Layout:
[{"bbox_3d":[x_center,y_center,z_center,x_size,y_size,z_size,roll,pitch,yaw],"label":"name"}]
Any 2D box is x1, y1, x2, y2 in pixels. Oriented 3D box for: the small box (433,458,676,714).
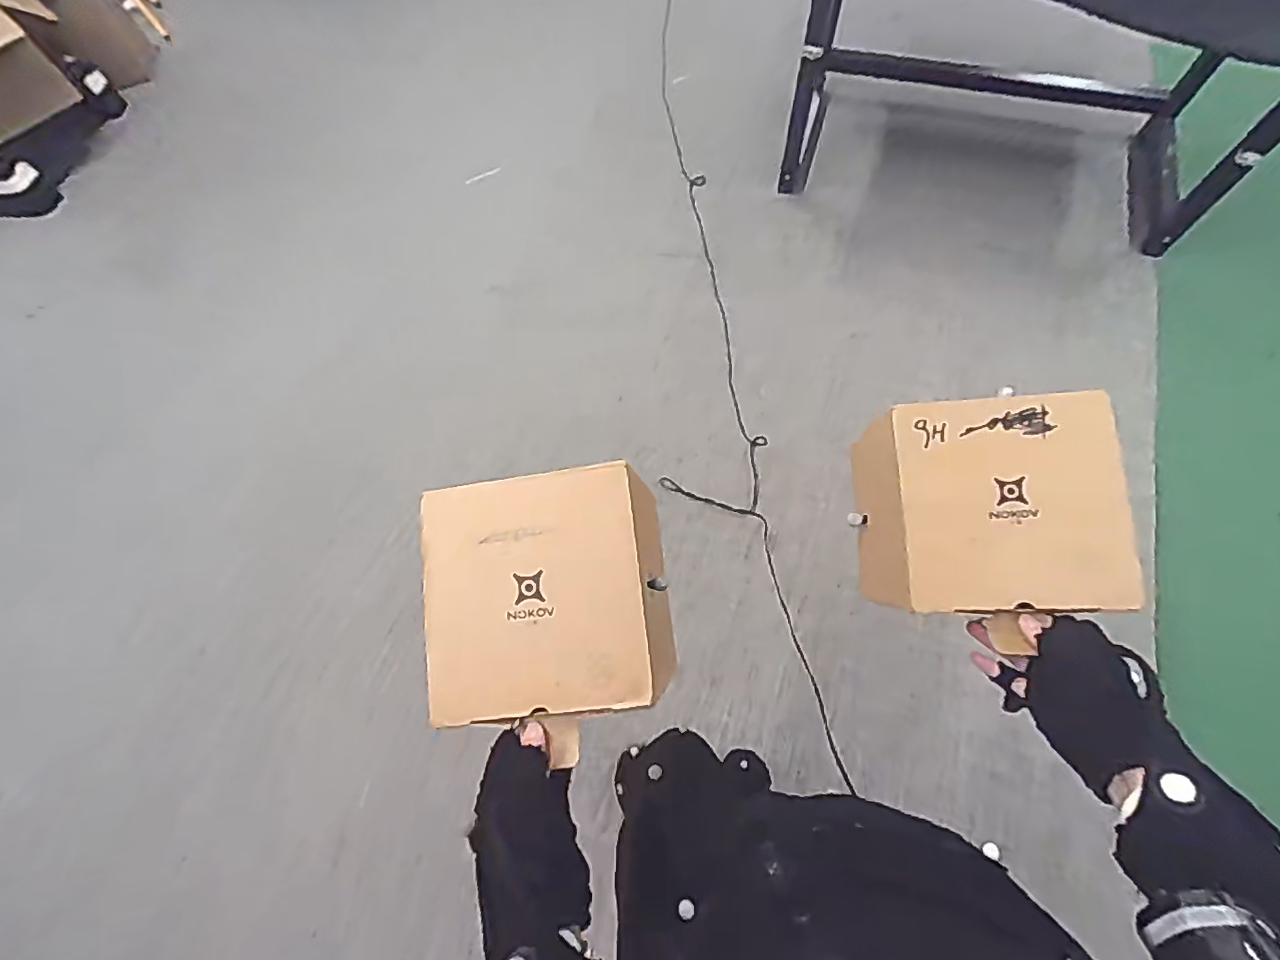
[{"bbox_3d":[-0.063,0.092,0.480,0.168,0.176,0.179,-8,77,7],"label":"small box"}]
